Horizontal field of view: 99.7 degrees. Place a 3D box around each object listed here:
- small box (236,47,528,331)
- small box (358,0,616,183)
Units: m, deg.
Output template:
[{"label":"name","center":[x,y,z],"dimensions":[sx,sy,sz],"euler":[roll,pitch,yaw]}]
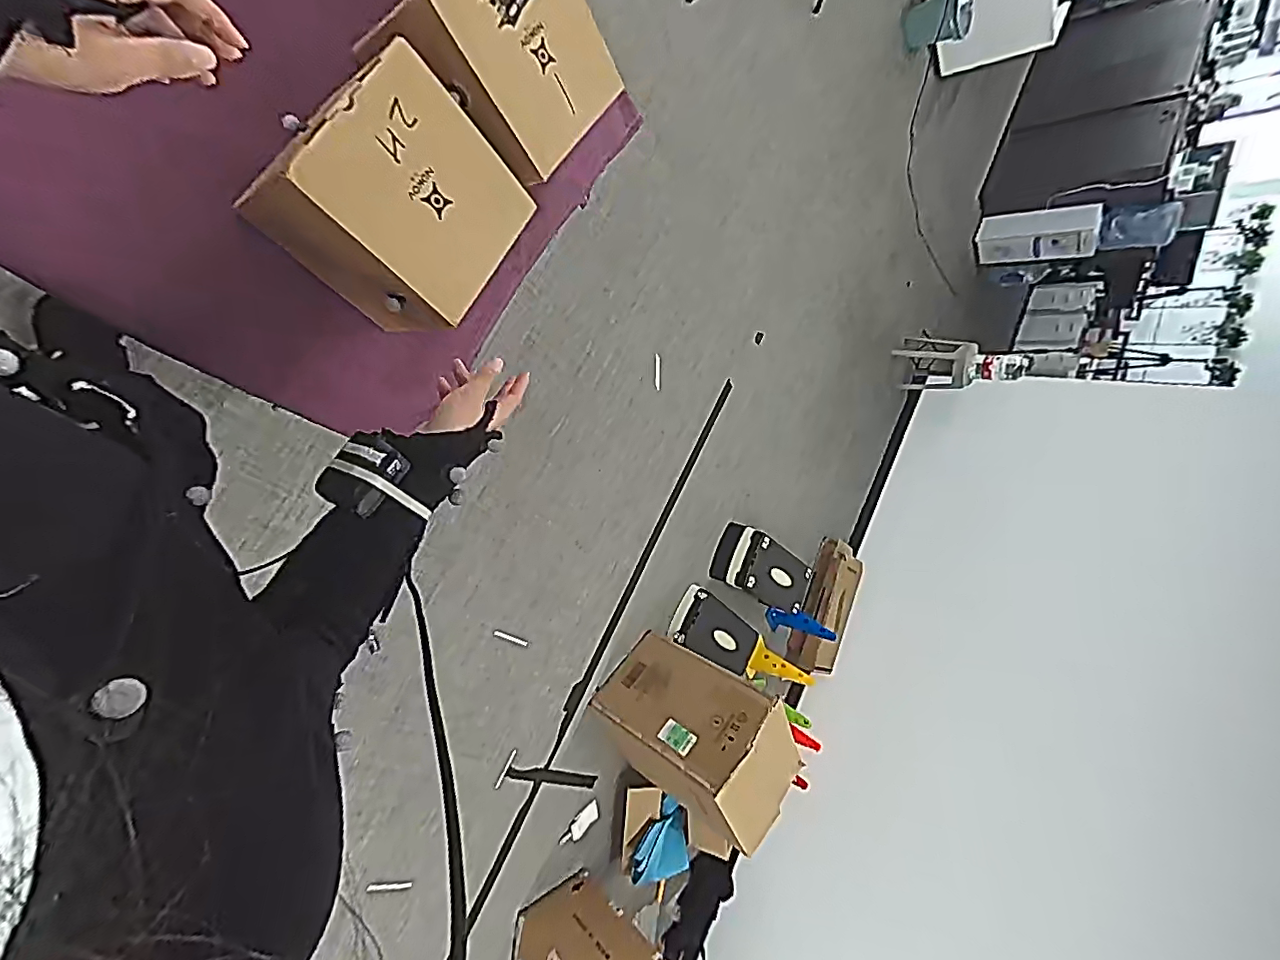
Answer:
[{"label":"small box","center":[-0.256,-0.272,0.546],"dimensions":[0.179,0.176,0.168],"euler":[43,68,-44]},{"label":"small box","center":[-0.166,-0.445,0.593],"dimensions":[0.168,0.176,0.179],"euler":[-57,137,-17]}]
